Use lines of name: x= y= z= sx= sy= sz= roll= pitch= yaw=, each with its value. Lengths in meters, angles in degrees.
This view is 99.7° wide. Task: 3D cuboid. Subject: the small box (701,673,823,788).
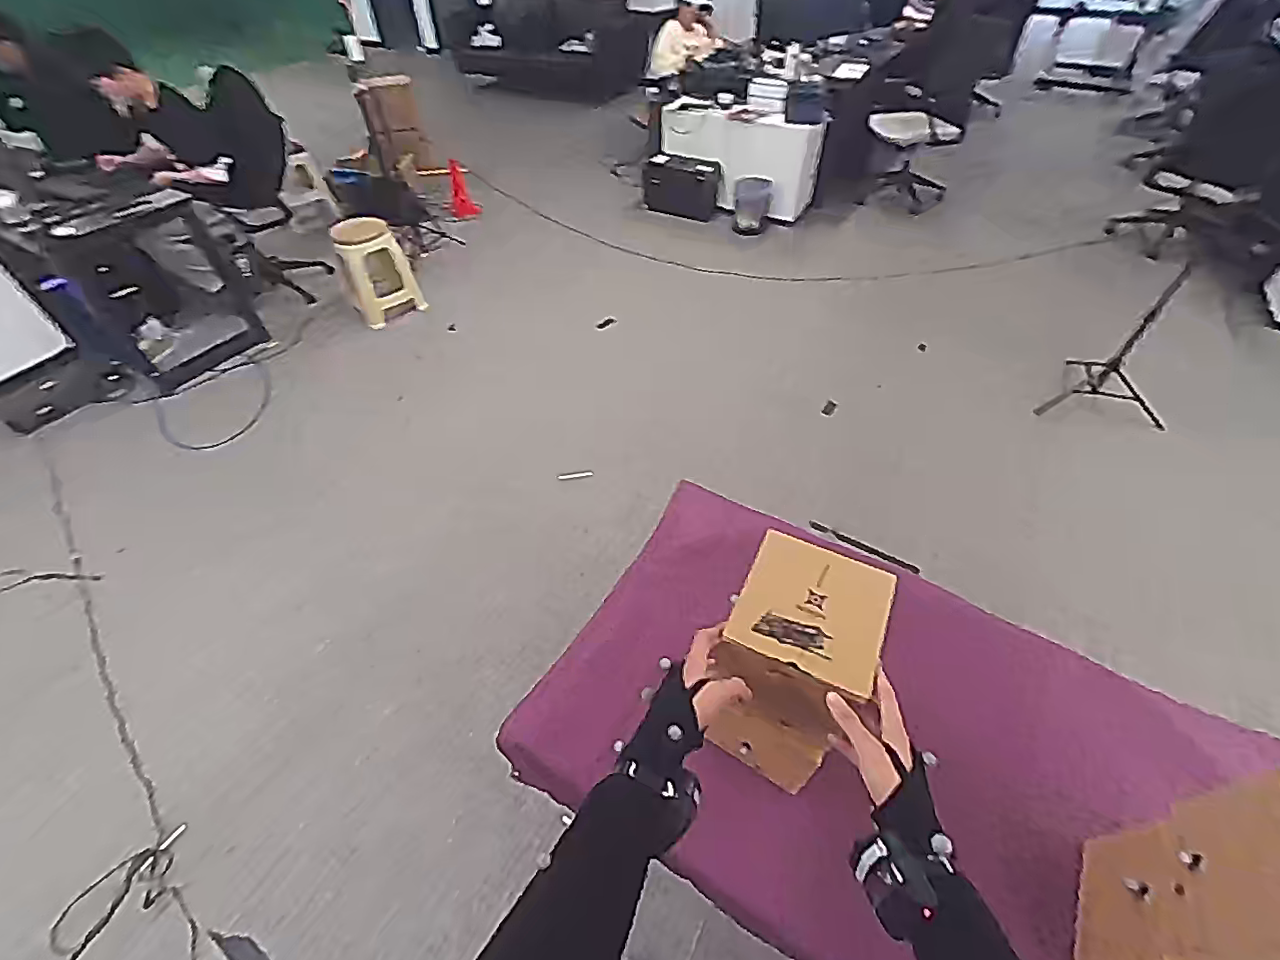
small box: x=0.202 y=0.325 z=0.814 sx=0.168 sy=0.176 sz=0.179 roll=26 pitch=54 yaw=22

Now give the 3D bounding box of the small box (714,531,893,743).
small box: x=0.202 y=0.204 z=0.698 sx=0.168 sy=0.176 sz=0.179 roll=21 pitch=51 yaw=18

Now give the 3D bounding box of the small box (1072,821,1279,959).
small box: x=0.632 y=0.539 z=0.613 sx=0.168 sy=0.176 sz=0.179 roll=26 pitch=52 yaw=23
